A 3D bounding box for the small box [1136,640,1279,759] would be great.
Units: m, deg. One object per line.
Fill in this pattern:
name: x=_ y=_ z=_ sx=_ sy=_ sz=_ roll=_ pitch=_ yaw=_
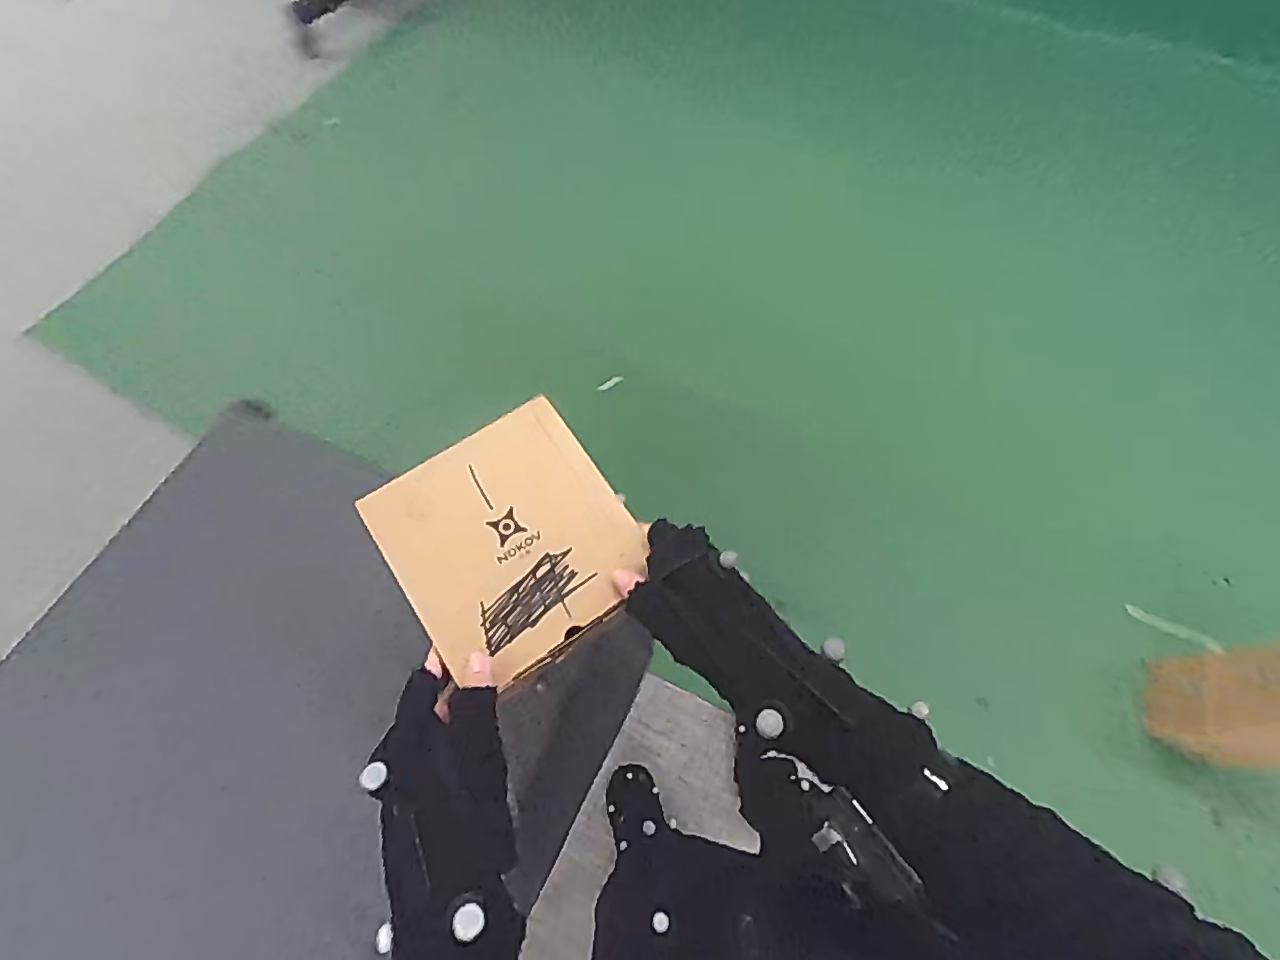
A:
small box: x=1.231 y=0.472 z=1.168 sx=0.168 sy=0.176 sz=0.179 roll=25 pitch=69 yaw=13
